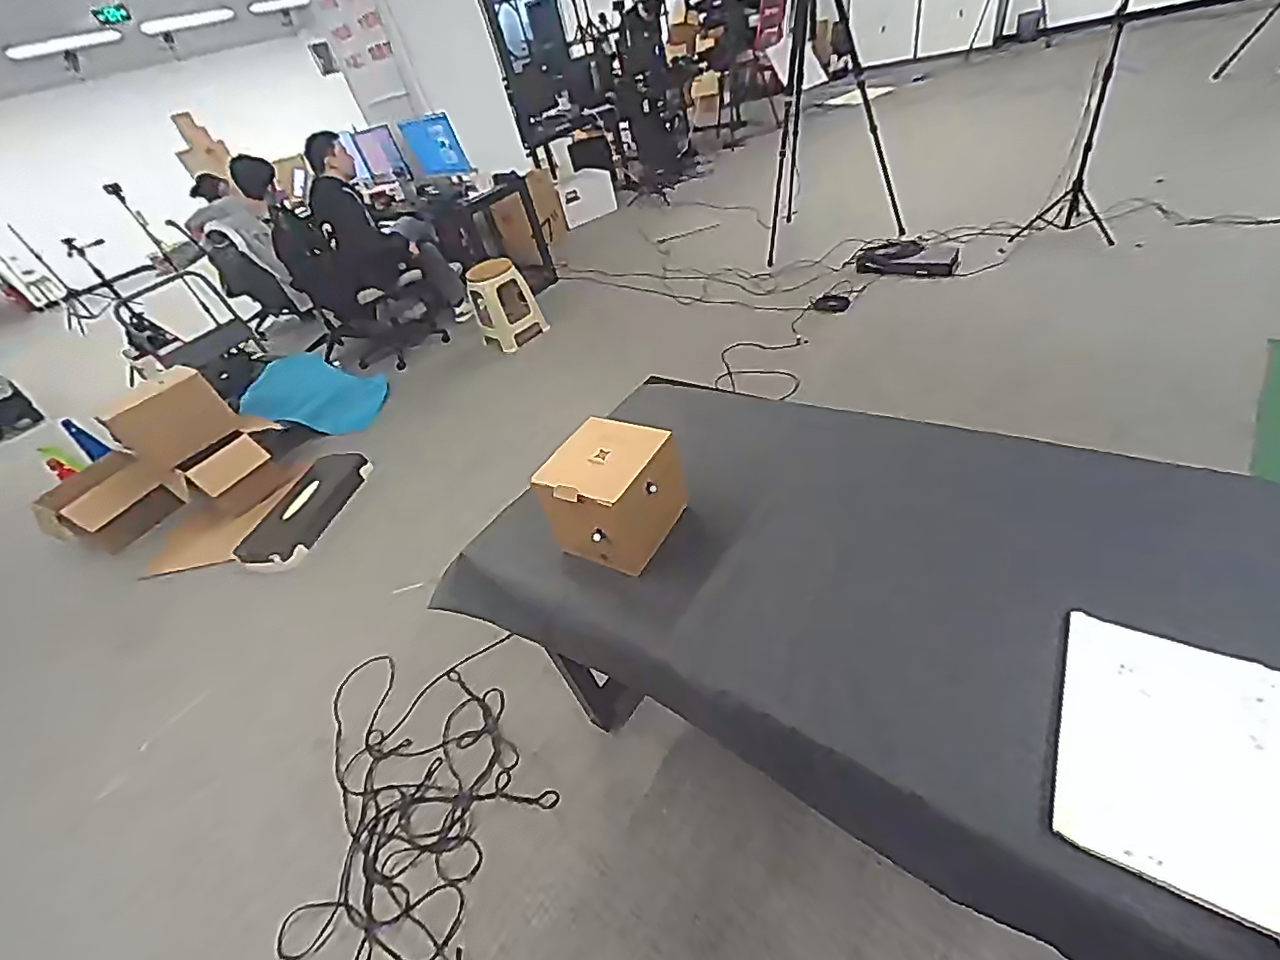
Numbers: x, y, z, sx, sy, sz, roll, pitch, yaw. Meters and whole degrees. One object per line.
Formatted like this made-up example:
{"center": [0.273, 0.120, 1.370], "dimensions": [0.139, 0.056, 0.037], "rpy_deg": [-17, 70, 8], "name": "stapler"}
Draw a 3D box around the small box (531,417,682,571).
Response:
{"center": [-0.043, 0.022, 0.896], "dimensions": [0.168, 0.176, 0.179], "rpy_deg": [14, 48, 31], "name": "small box"}
